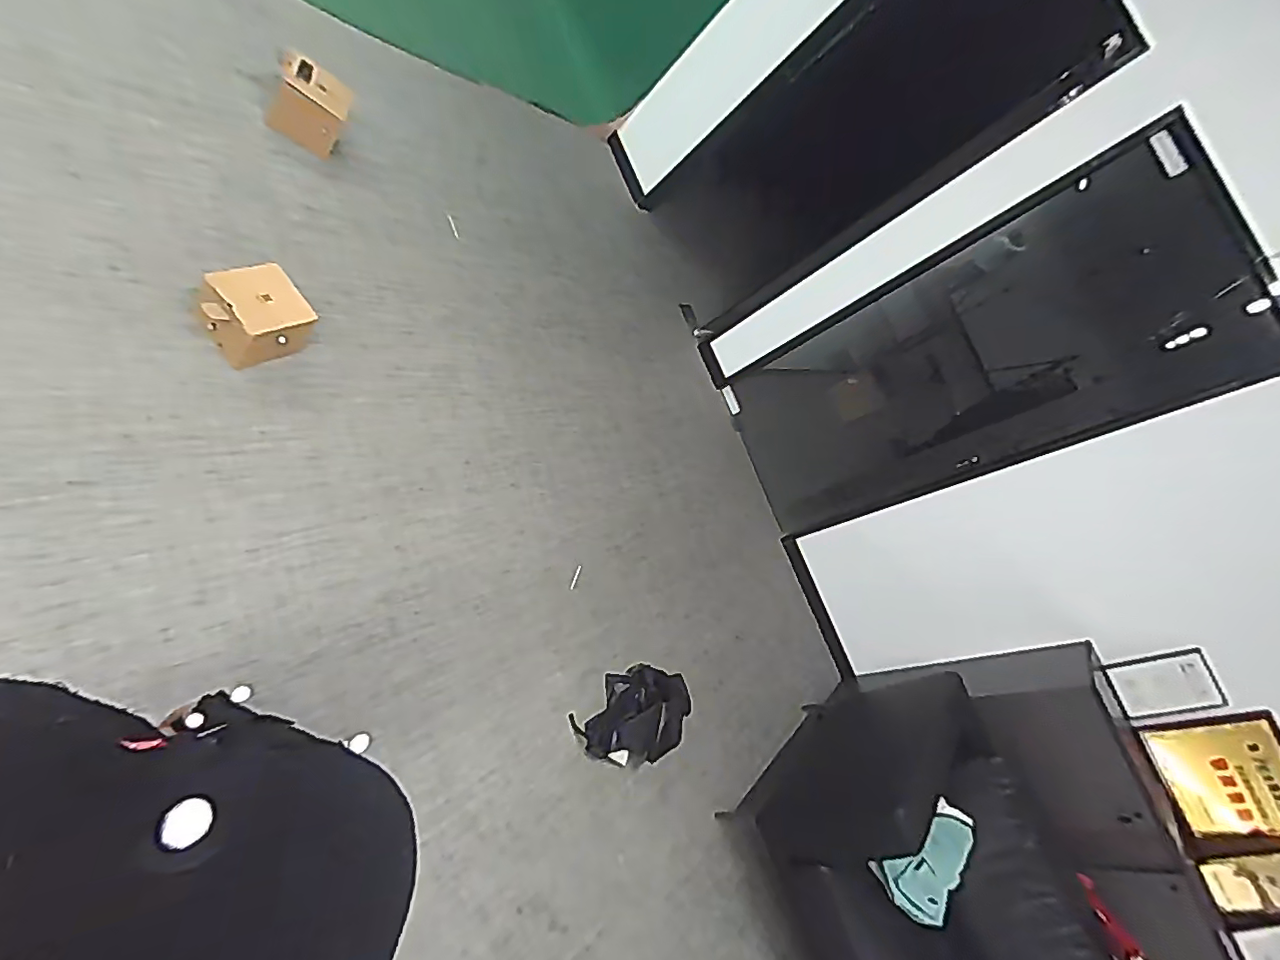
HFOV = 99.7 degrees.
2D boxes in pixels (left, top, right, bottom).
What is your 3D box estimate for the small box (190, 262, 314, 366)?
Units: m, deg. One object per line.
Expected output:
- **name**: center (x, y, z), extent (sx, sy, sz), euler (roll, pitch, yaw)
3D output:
- **small box**: center (-0.966, -0.412, 1.346), extent (0.168, 0.176, 0.179), euler (56, 40, -9)
